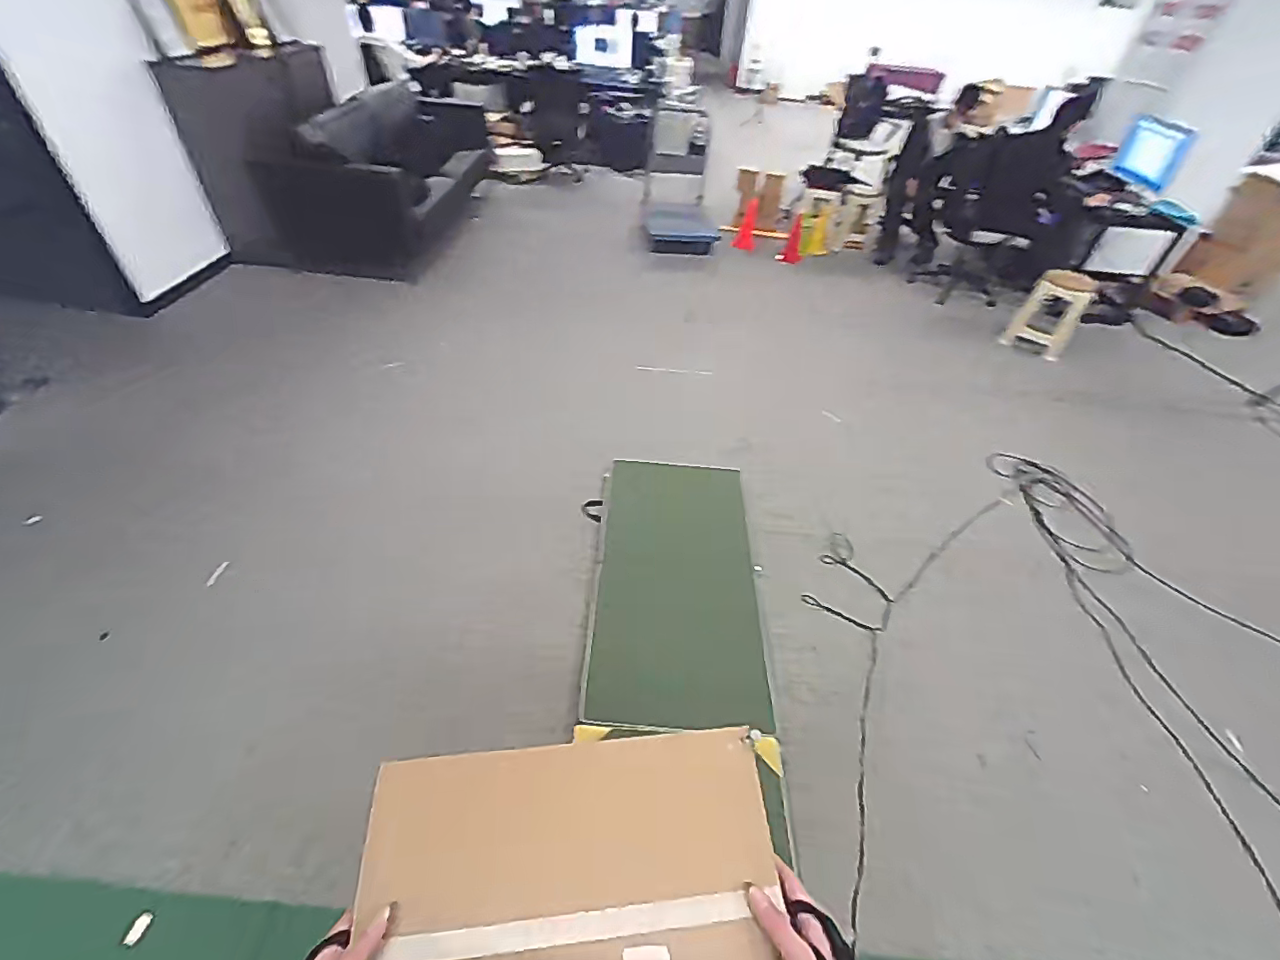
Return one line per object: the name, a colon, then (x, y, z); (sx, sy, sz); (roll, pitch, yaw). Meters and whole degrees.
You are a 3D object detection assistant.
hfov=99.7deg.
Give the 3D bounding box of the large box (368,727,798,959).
large box: (-0.062, 0.512, 0.634); (0.408, 0.320, 0.320); (-3, 53, -5)
